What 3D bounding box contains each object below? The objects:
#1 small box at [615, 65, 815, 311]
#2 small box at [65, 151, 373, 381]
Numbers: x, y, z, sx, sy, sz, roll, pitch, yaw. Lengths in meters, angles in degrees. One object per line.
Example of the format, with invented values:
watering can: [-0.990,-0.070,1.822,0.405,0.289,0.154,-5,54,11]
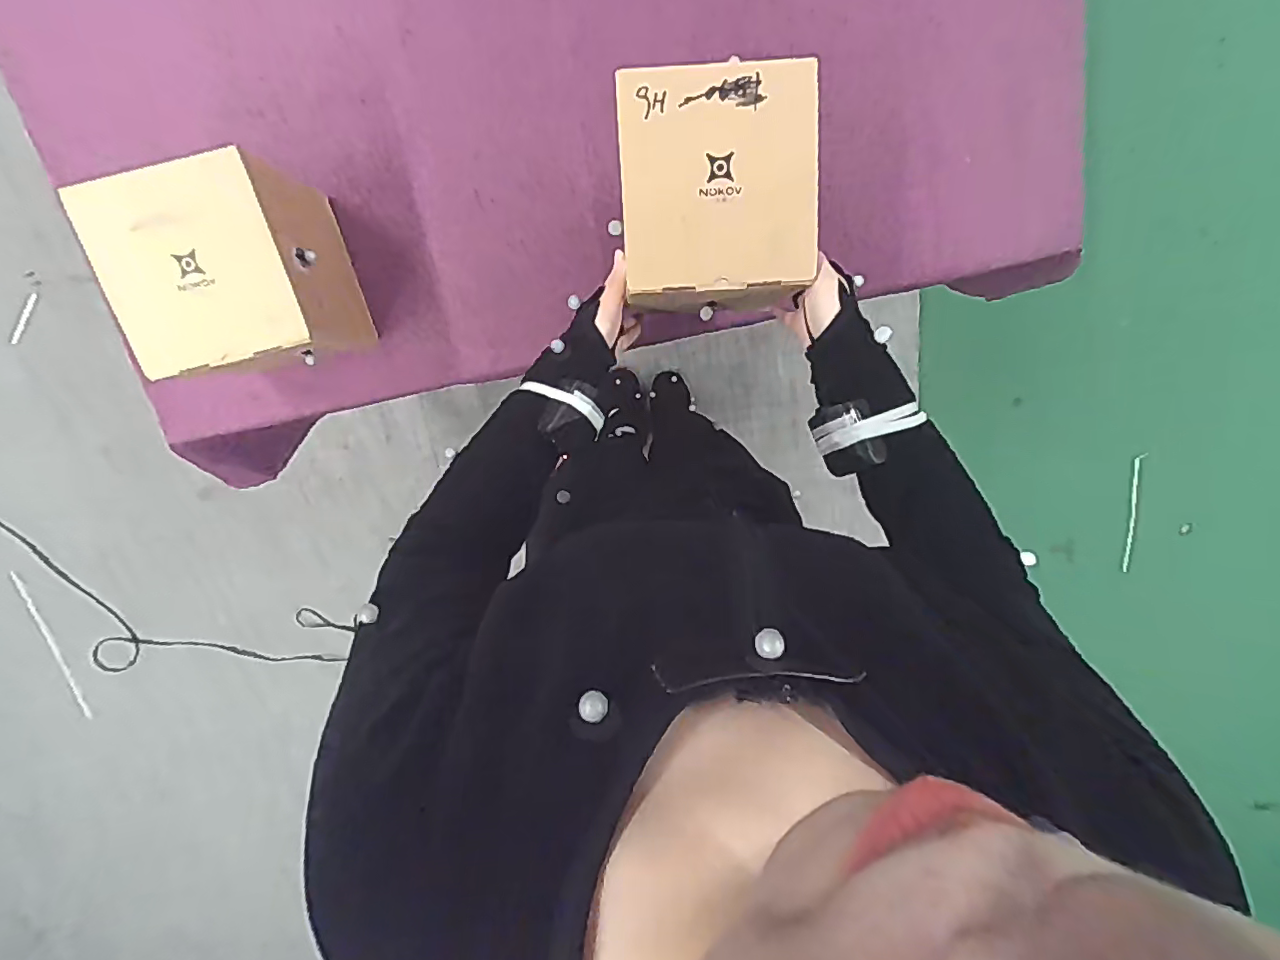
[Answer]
small box: [0.065,-0.265,0.536,0.168,0.176,0.179,-3,101,0]
small box: [-0.419,-0.215,0.579,0.168,0.176,0.179,-14,105,-1]
